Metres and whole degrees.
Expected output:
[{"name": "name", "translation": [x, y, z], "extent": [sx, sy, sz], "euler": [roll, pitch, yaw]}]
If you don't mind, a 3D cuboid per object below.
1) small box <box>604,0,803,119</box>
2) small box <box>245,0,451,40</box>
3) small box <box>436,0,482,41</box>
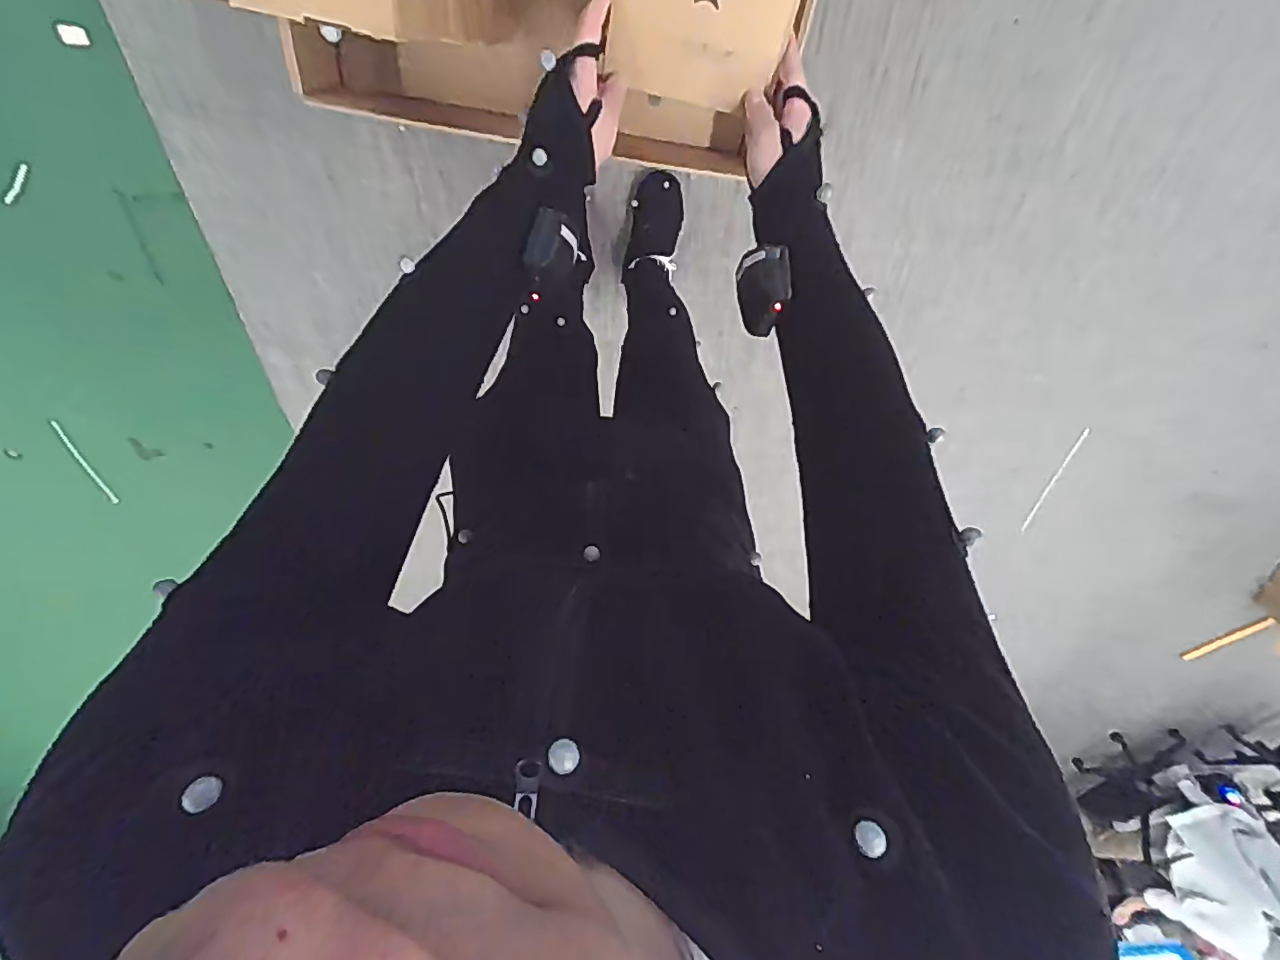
[{"name": "small box", "translation": [0.058, -0.482, 0.526], "extent": [0.168, 0.176, 0.179], "euler": [7, 129, -10]}, {"name": "small box", "translation": [-0.226, -0.422, 0.357], "extent": [0.168, 0.176, 0.179], "euler": [7, 129, -10]}, {"name": "small box", "translation": [-0.237, -0.526, 0.486], "extent": [0.168, 0.176, 0.179], "euler": [6, 130, -10]}]
